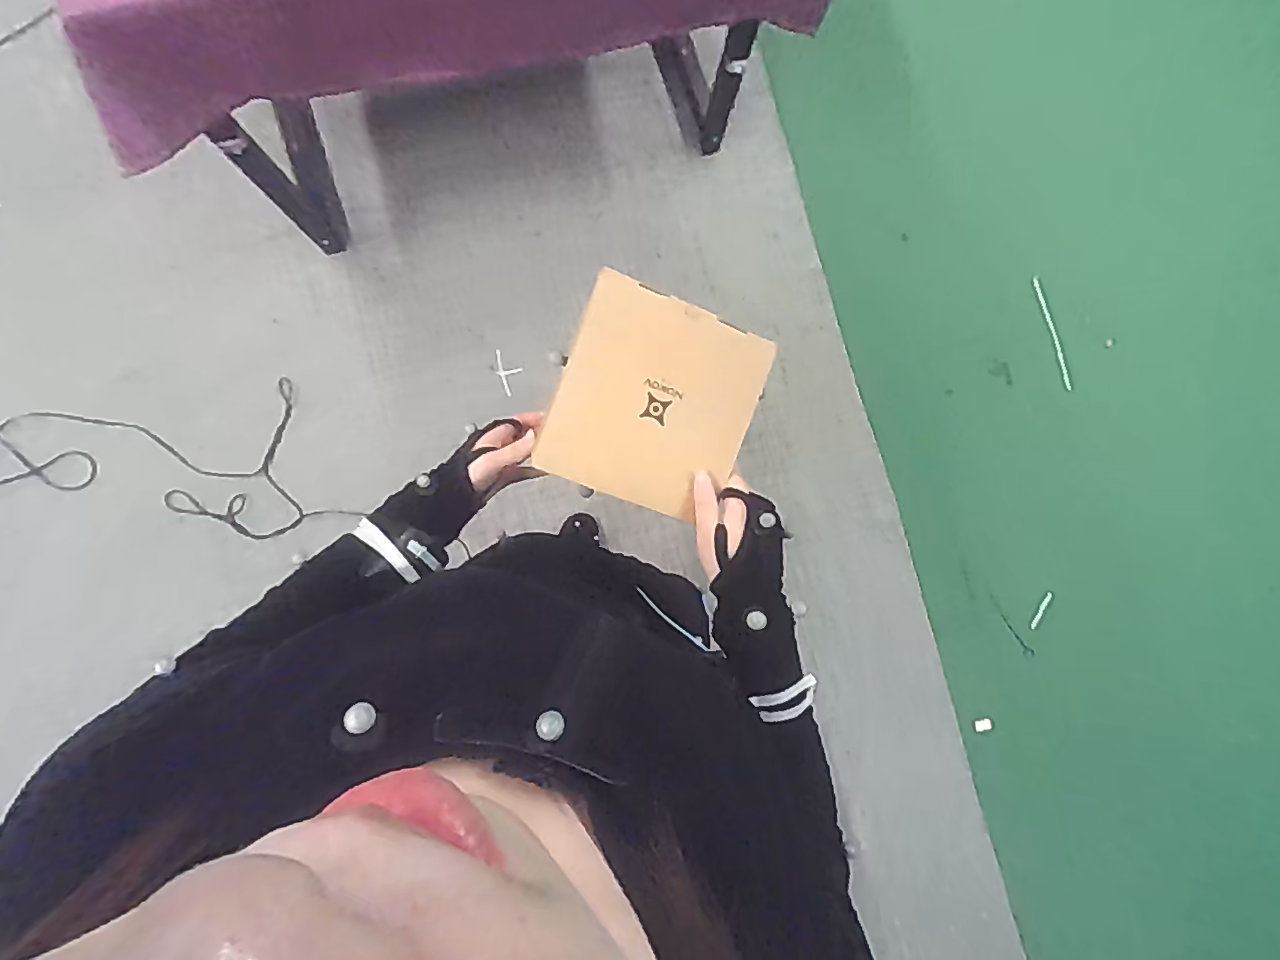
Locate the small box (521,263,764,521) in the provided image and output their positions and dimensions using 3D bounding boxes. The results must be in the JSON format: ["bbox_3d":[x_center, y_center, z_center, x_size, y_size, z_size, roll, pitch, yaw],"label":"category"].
[{"bbox_3d":[-0.009,-0.079,0.538,0.168,0.176,0.179,20,92,-13],"label":"small box"}]
